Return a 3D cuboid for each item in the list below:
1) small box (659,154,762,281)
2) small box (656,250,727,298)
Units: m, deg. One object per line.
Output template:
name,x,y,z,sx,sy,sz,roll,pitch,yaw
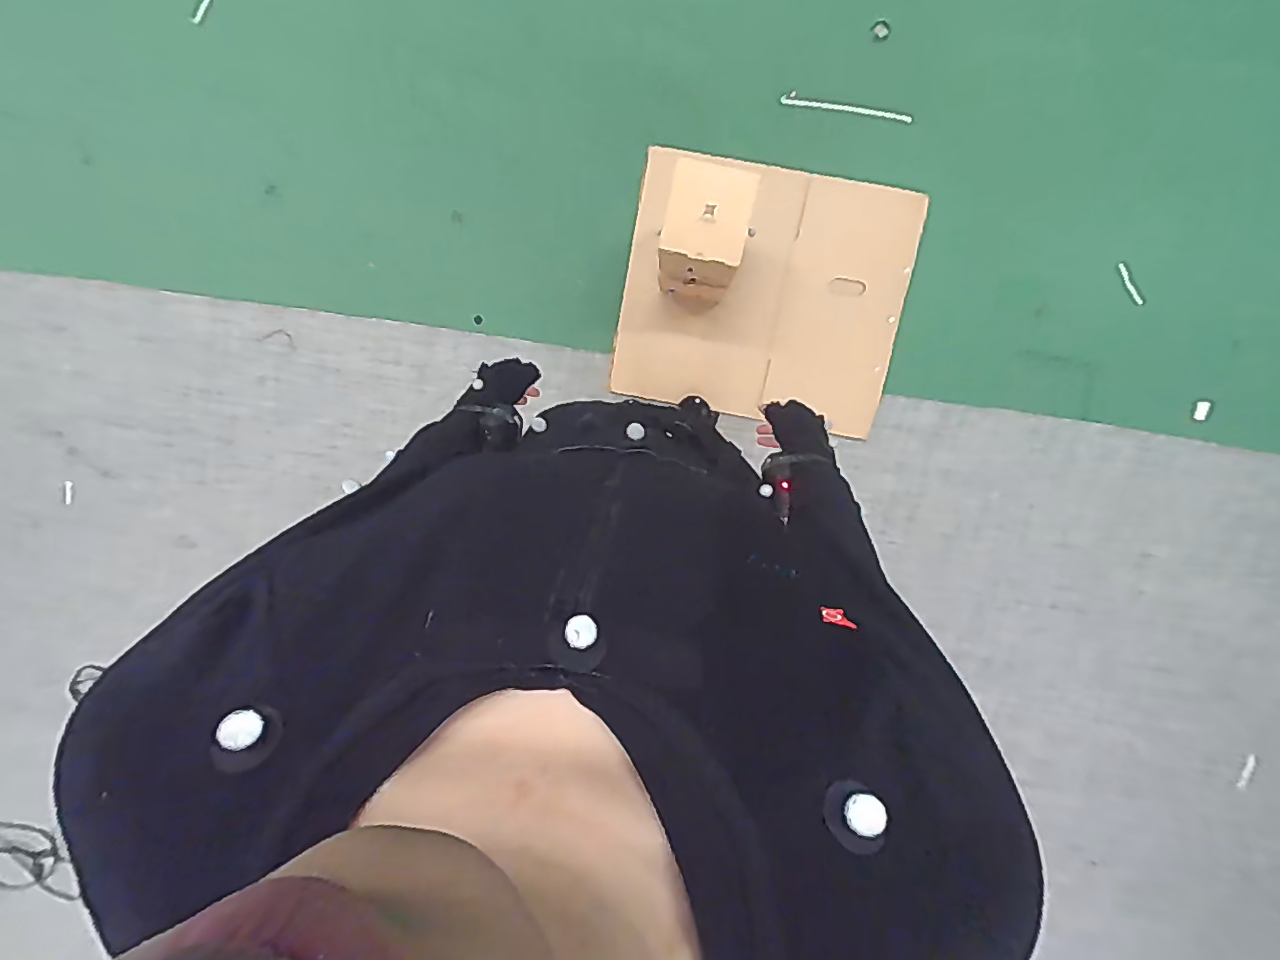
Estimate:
small box,0.137,-0.529,1.114,0.168,0.176,0.179,13,100,1
small box,0.138,-0.544,1.276,0.168,0.176,0.179,12,99,2
